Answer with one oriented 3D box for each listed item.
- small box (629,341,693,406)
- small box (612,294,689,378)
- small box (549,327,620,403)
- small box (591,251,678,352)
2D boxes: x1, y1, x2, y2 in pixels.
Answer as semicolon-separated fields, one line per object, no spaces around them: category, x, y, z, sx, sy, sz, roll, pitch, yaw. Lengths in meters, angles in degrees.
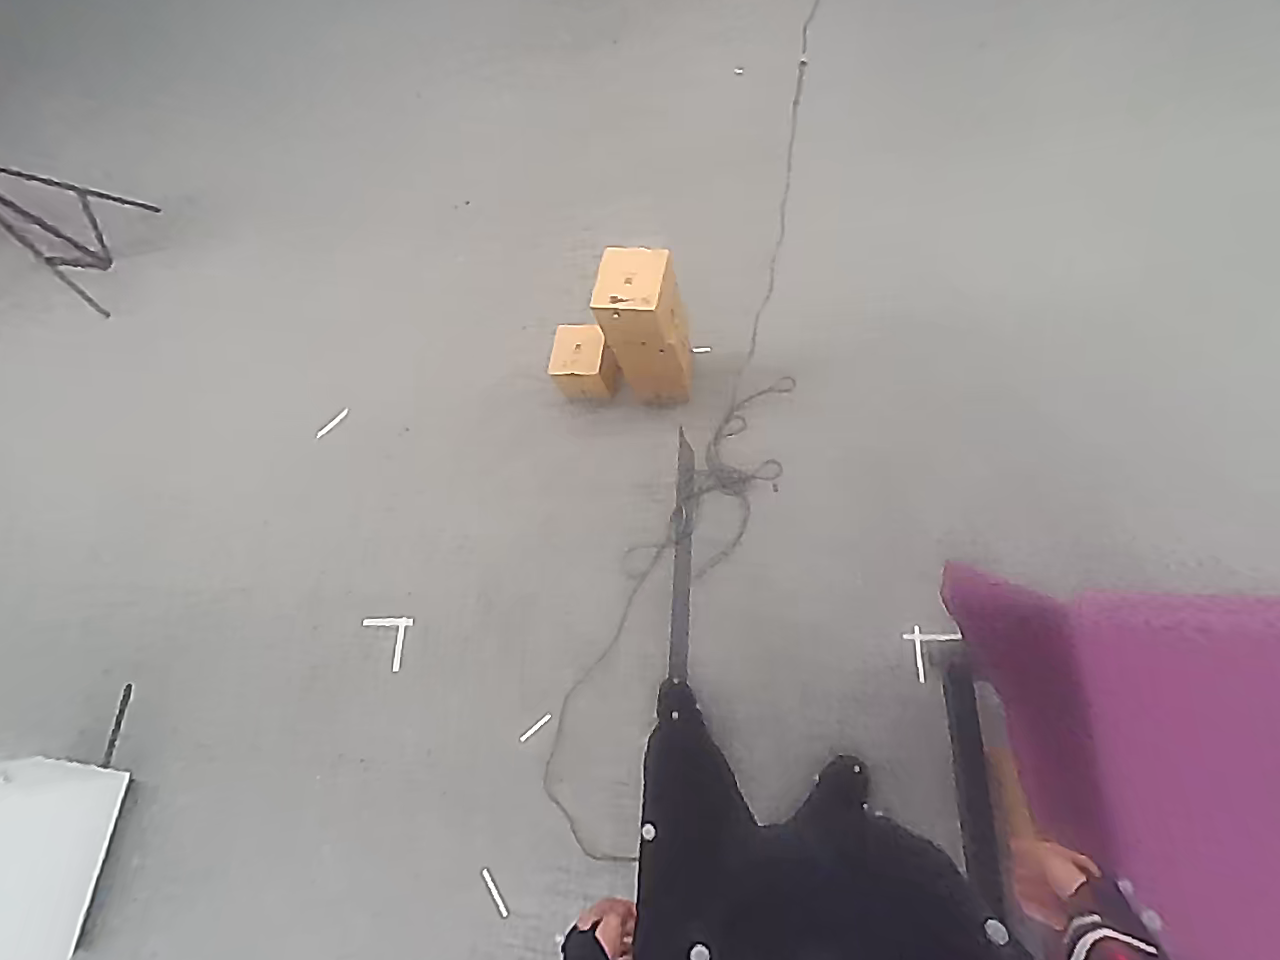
small box;0.069;-0.346;1.664;0.168;0.176;0.179;-1;72;14
small box;0.034;-0.396;1.514;0.179;0.176;0.168;1;72;14
small box;-0.170;-0.365;1.724;0.168;0.176;0.179;4;73;15
small box;-0.005;-0.447;1.363;0.168;0.176;0.179;8;72;16
